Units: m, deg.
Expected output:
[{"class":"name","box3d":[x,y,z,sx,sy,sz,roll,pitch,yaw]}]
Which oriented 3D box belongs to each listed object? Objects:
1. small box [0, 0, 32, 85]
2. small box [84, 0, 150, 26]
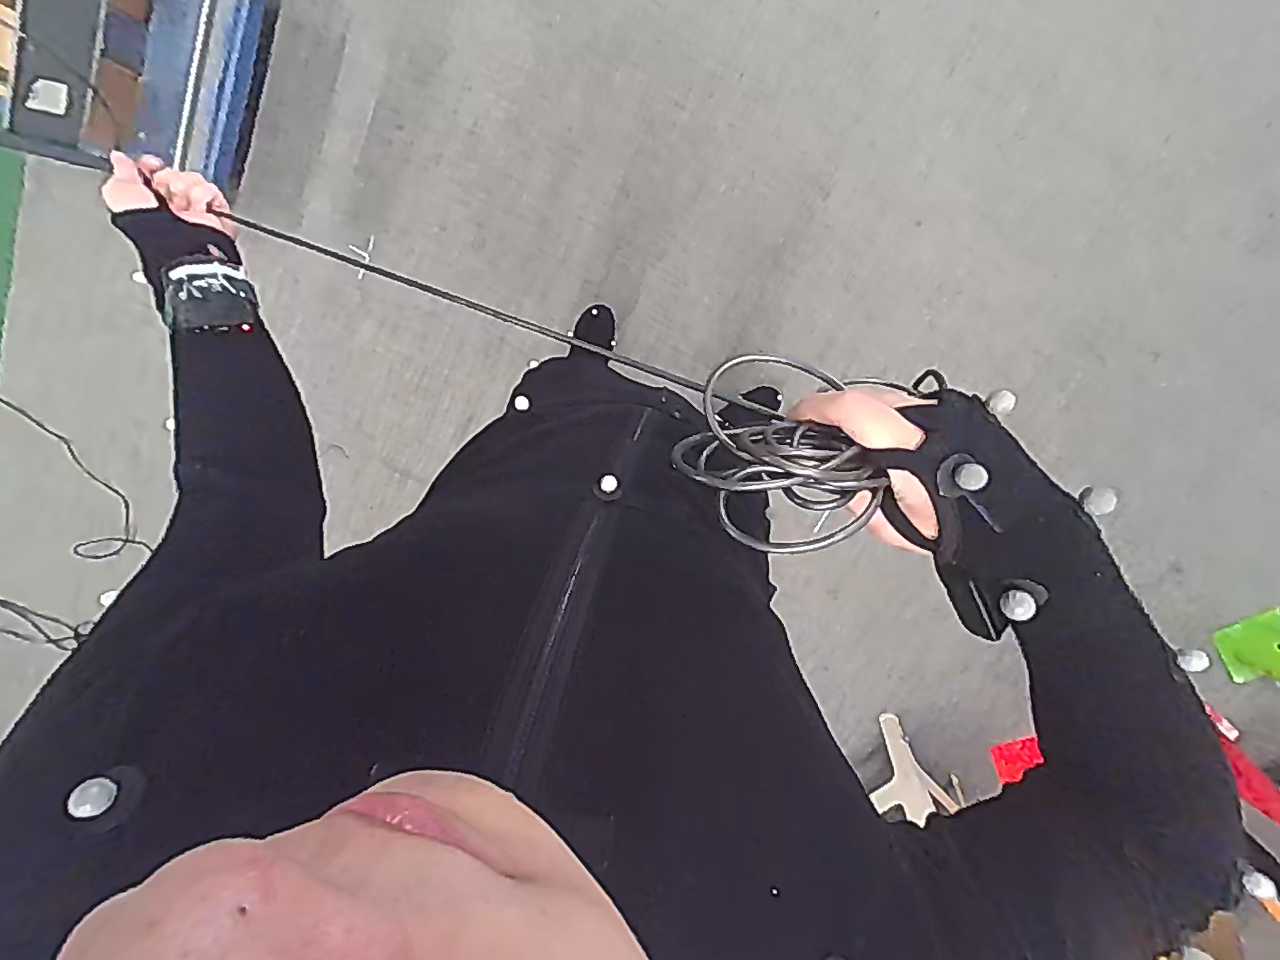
[{"class":"small box","box3d":[-1.530,-1.025,1.205,0.179,0.176,0.168,23,106,-2]},{"class":"small box","box3d":[-1.194,-1.124,1.147,0.179,0.176,0.168,28,106,-4]}]
